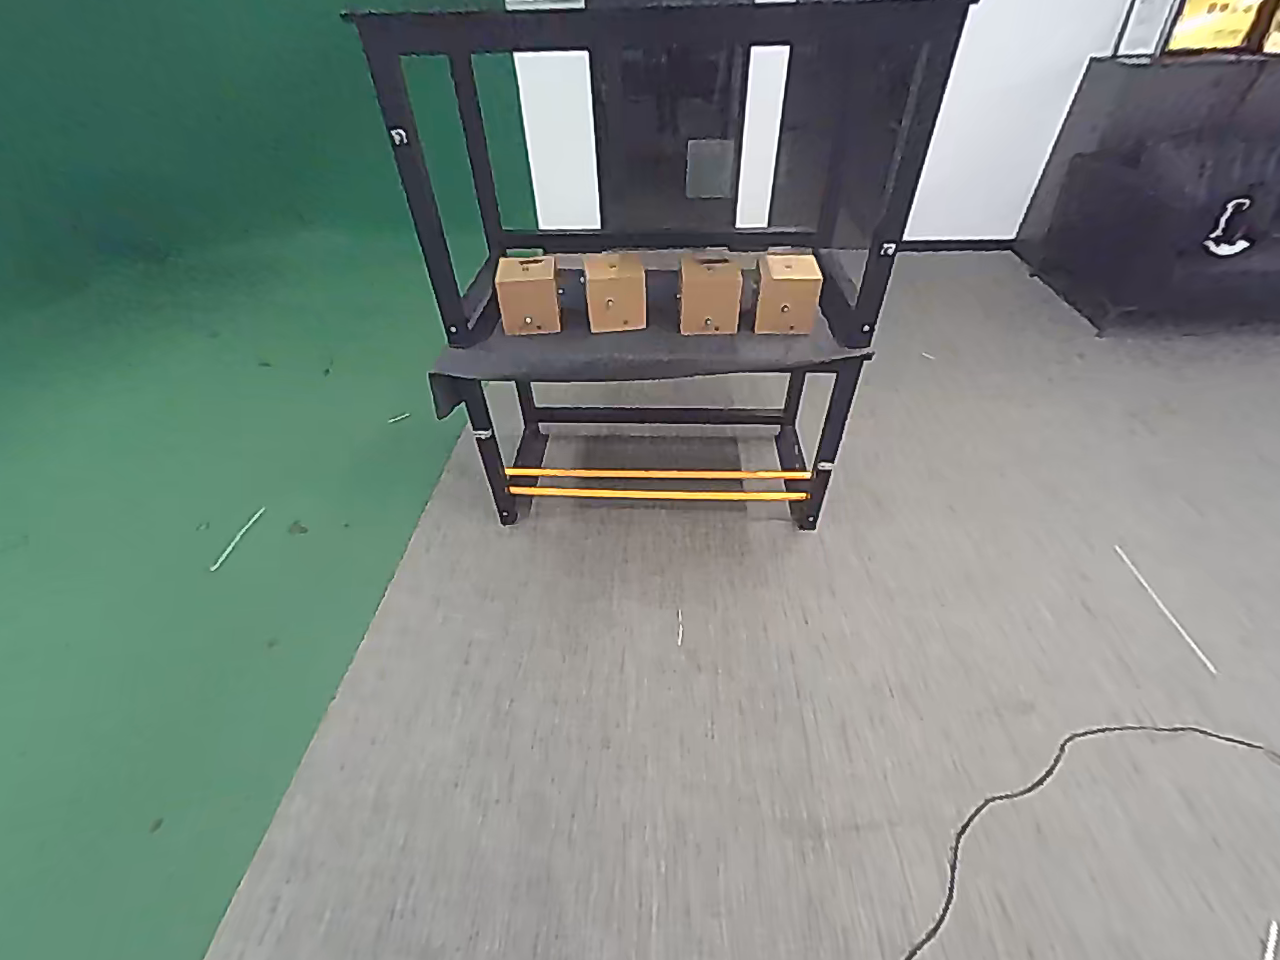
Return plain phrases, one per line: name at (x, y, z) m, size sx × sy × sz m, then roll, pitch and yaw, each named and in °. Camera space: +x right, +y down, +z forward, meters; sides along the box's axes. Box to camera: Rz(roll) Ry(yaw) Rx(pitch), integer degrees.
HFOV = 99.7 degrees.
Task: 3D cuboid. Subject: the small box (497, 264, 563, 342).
small box at (-0.324, -0.532, 1.628) m, size 0.168 × 0.176 × 0.179 m, roll -5°, pitch 43°, yaw -3°
